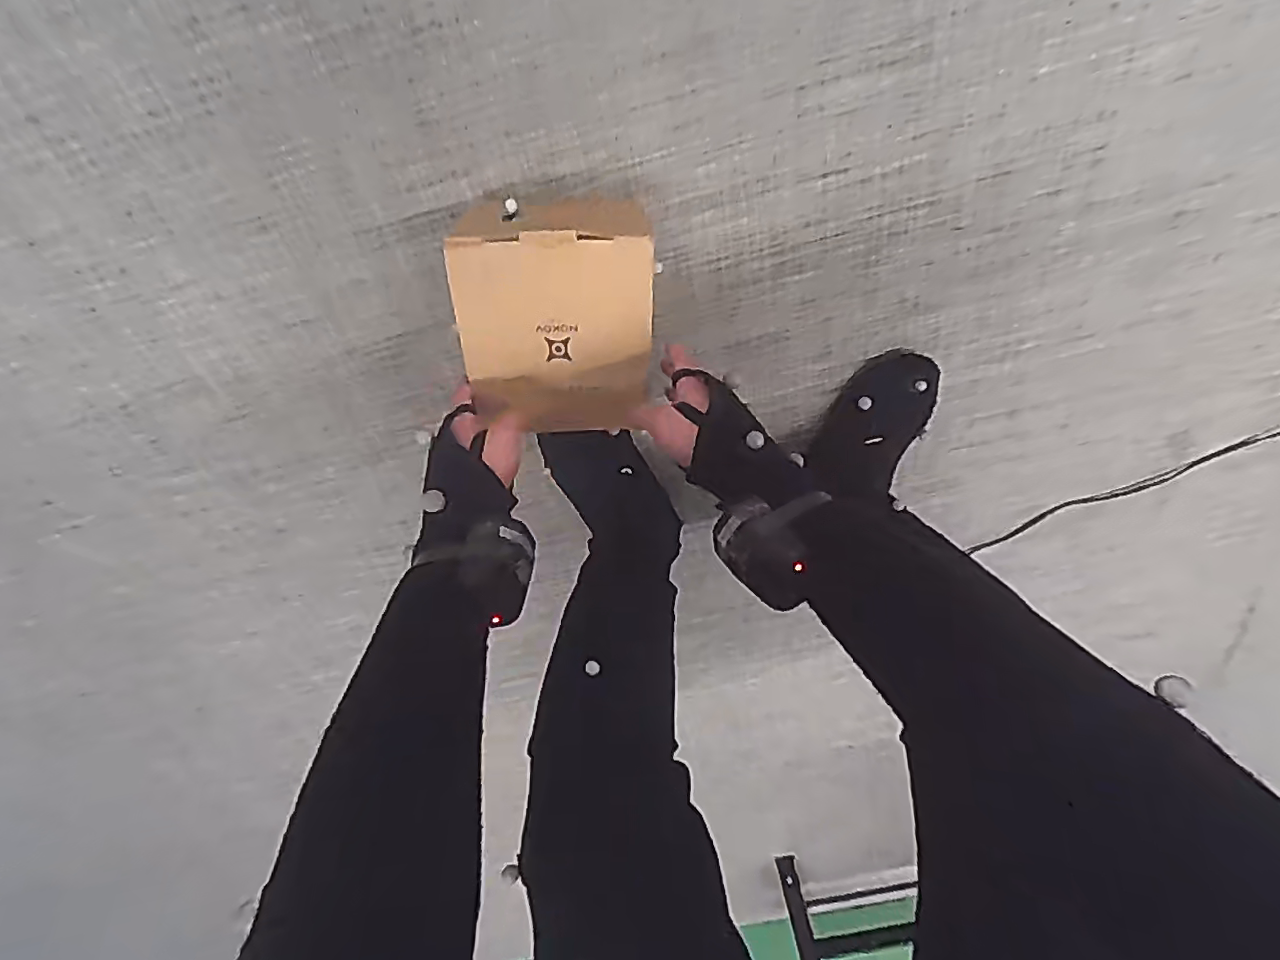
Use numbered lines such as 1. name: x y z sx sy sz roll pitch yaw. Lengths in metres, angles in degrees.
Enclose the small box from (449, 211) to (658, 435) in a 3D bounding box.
1. small box: -0.076 -0.160 0.531 0.168 0.176 0.179 -1 123 -4
